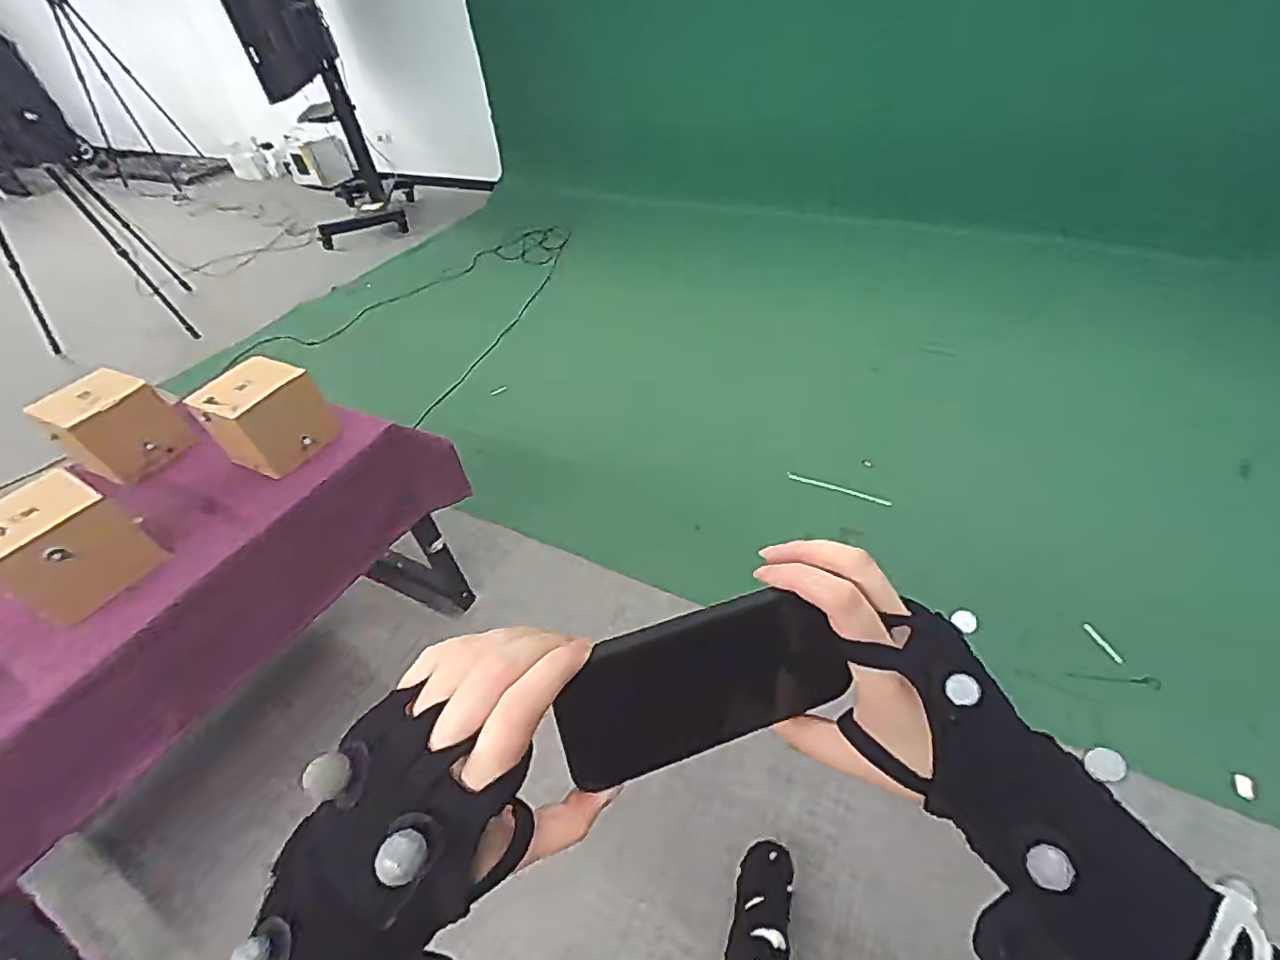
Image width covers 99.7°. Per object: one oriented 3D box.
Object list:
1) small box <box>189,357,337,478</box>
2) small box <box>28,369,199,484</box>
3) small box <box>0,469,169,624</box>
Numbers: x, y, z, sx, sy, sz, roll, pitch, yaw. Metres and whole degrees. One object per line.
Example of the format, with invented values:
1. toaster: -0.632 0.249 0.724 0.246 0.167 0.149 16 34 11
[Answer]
1. small box: -0.789 -0.134 1.158 0.168 0.176 0.179 17 49 22
2. small box: -1.133 -0.115 1.177 0.179 0.176 0.168 16 50 20
3. small box: -0.988 0.116 0.935 0.168 0.176 0.179 20 50 24
